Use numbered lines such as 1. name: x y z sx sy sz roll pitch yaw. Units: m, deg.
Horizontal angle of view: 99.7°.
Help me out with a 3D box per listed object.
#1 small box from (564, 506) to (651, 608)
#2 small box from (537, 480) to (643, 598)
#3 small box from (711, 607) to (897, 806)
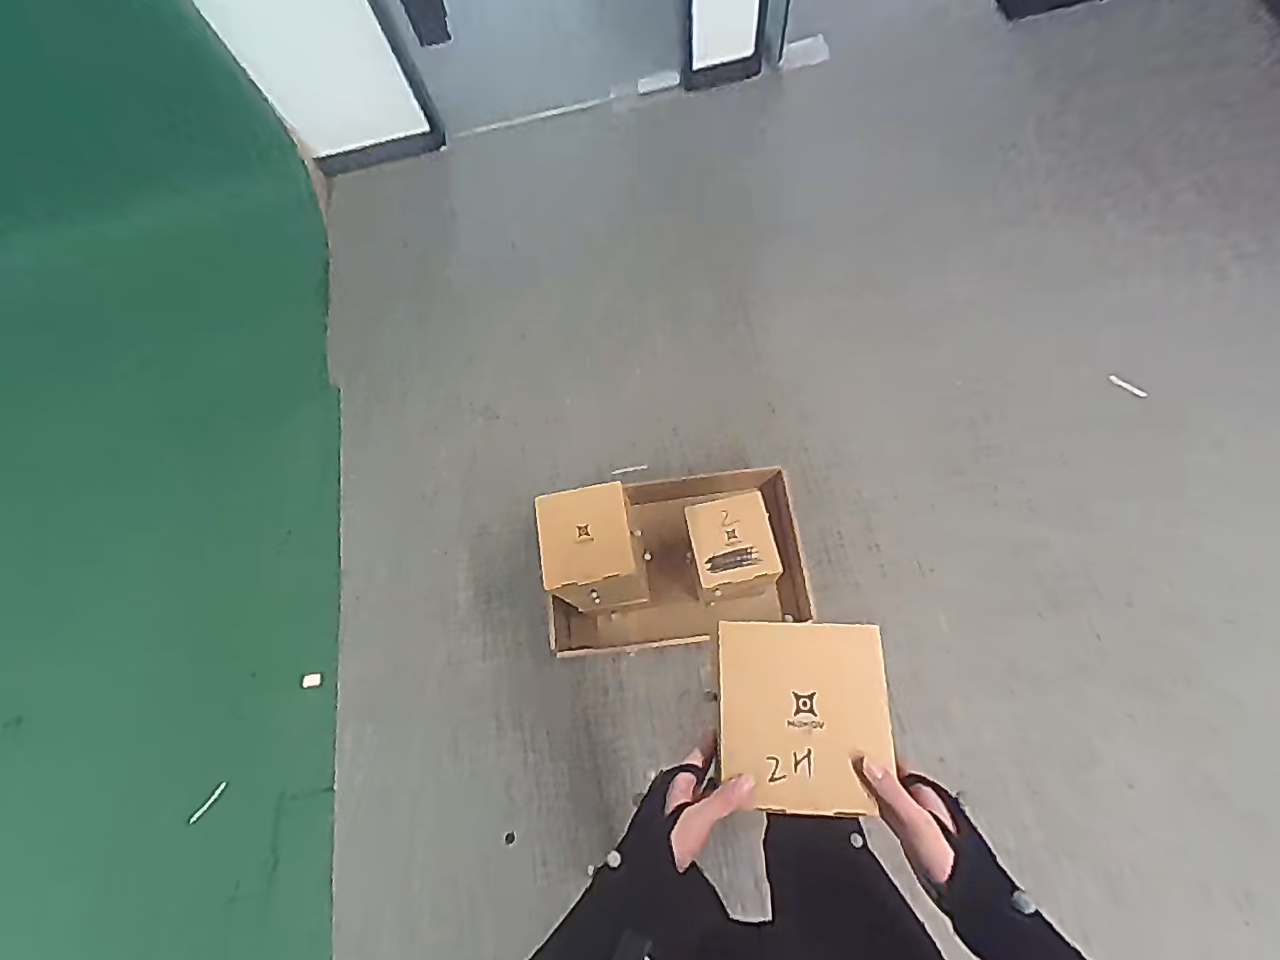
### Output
1. small box: -0.074 0.174 1.193 0.168 0.176 0.179 -10 69 4
2. small box: -0.091 0.119 1.042 0.168 0.176 0.179 -11 71 2
3. small box: 0.166 0.245 0.608 0.168 0.176 0.179 1 70 5
